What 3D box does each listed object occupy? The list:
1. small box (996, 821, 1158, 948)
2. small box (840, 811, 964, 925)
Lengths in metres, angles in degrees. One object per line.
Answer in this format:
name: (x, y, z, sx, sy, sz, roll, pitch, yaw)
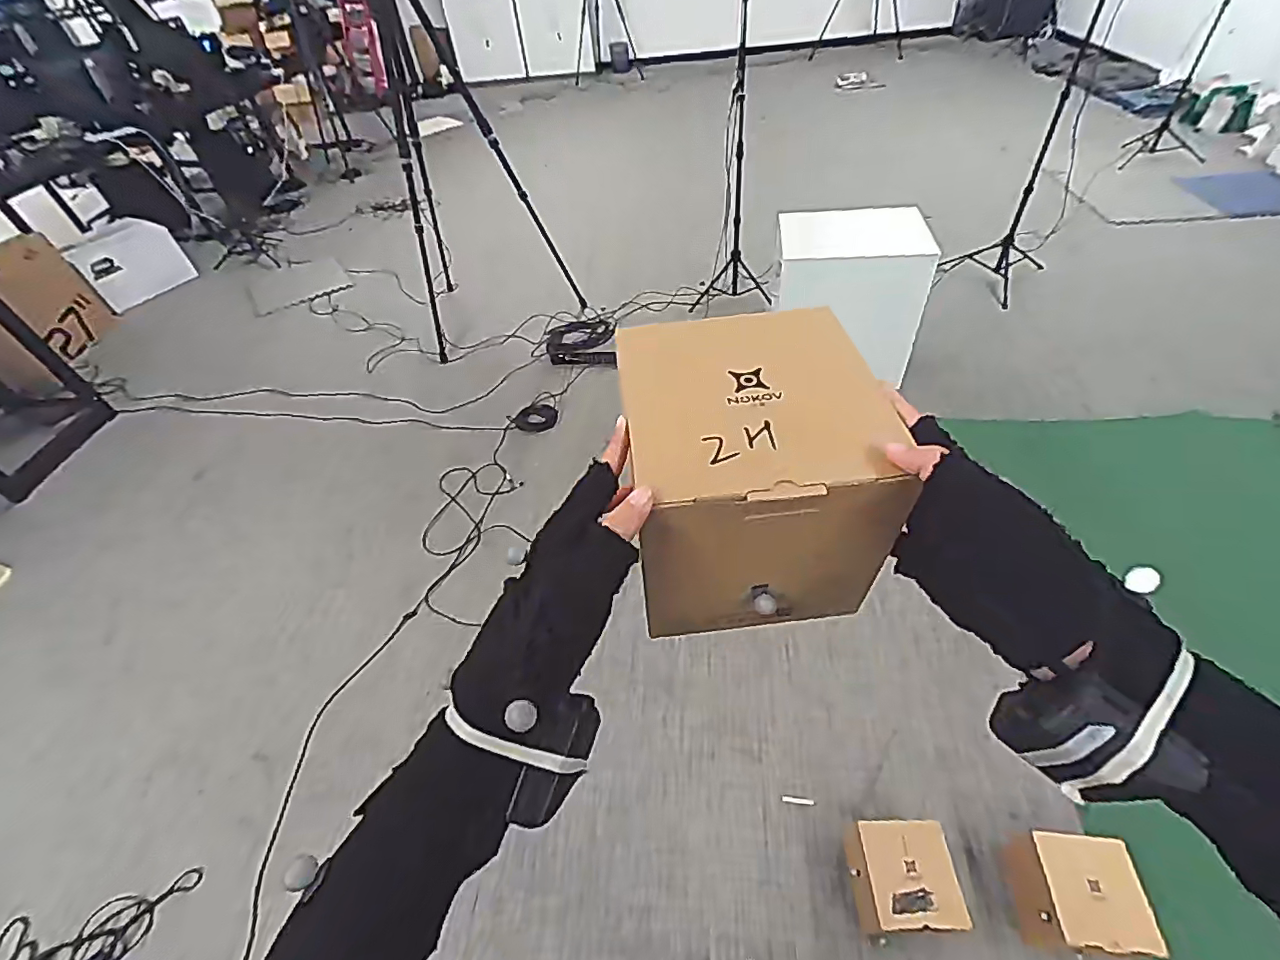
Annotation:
small box: (0.847, 0.805, 1.076, 0.168, 0.176, 0.179, 1, 48, 8)
small box: (0.526, 0.800, 1.114, 0.168, 0.176, 0.179, -2, 47, 4)
